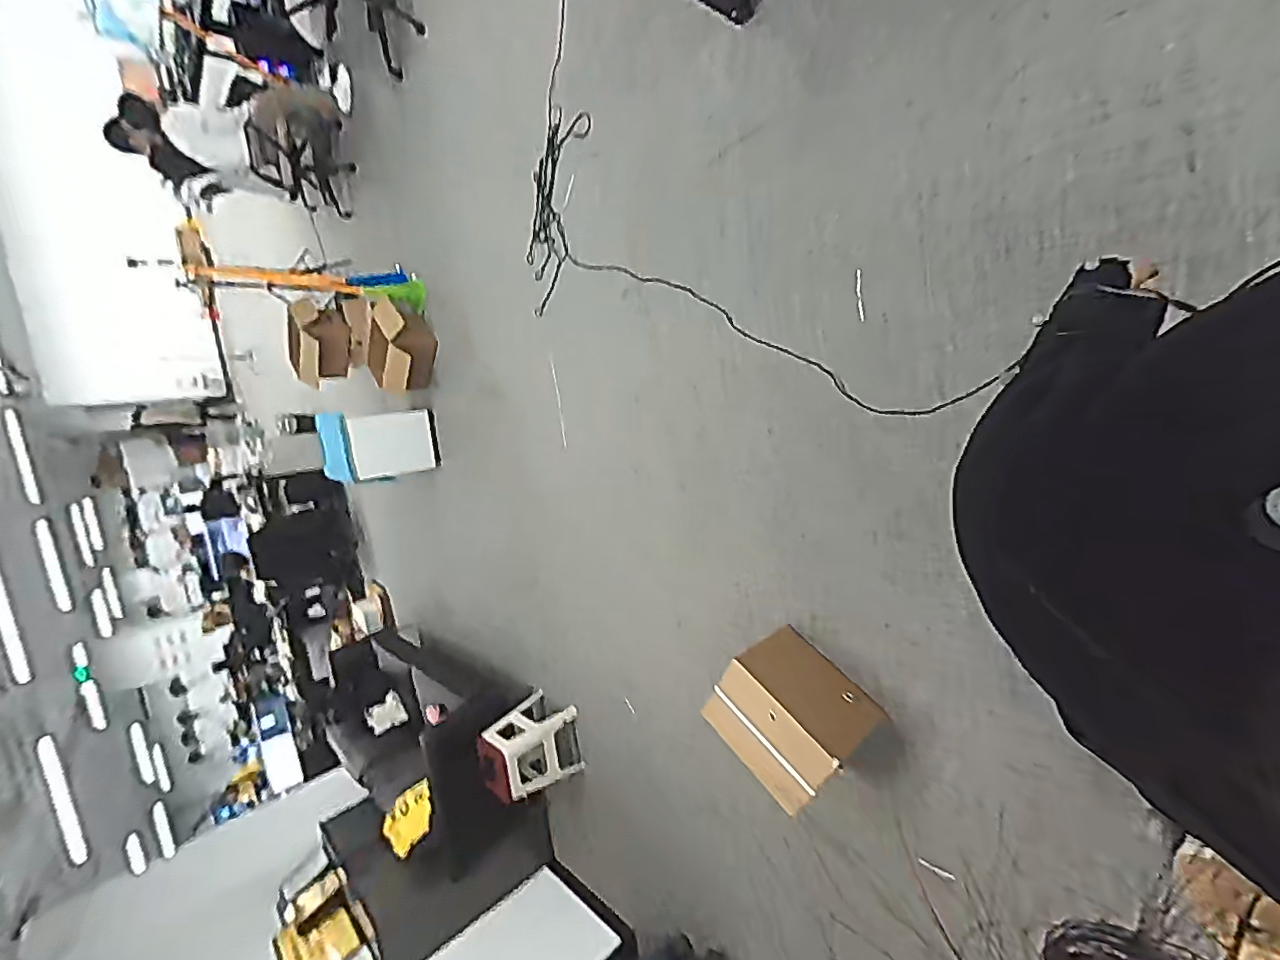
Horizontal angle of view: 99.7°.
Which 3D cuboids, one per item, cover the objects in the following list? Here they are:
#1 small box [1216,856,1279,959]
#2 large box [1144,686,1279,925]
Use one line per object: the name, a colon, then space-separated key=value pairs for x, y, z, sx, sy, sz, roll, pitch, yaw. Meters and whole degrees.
small box: x=0.878 y=0.635 z=0.695 sx=0.179 sy=0.176 sz=0.168 roll=-9 pitch=93 yaw=49
large box: x=1.199 y=0.577 z=0.943 sx=0.408 sy=0.320 sz=0.320 roll=-19 pitch=87 yaw=47
